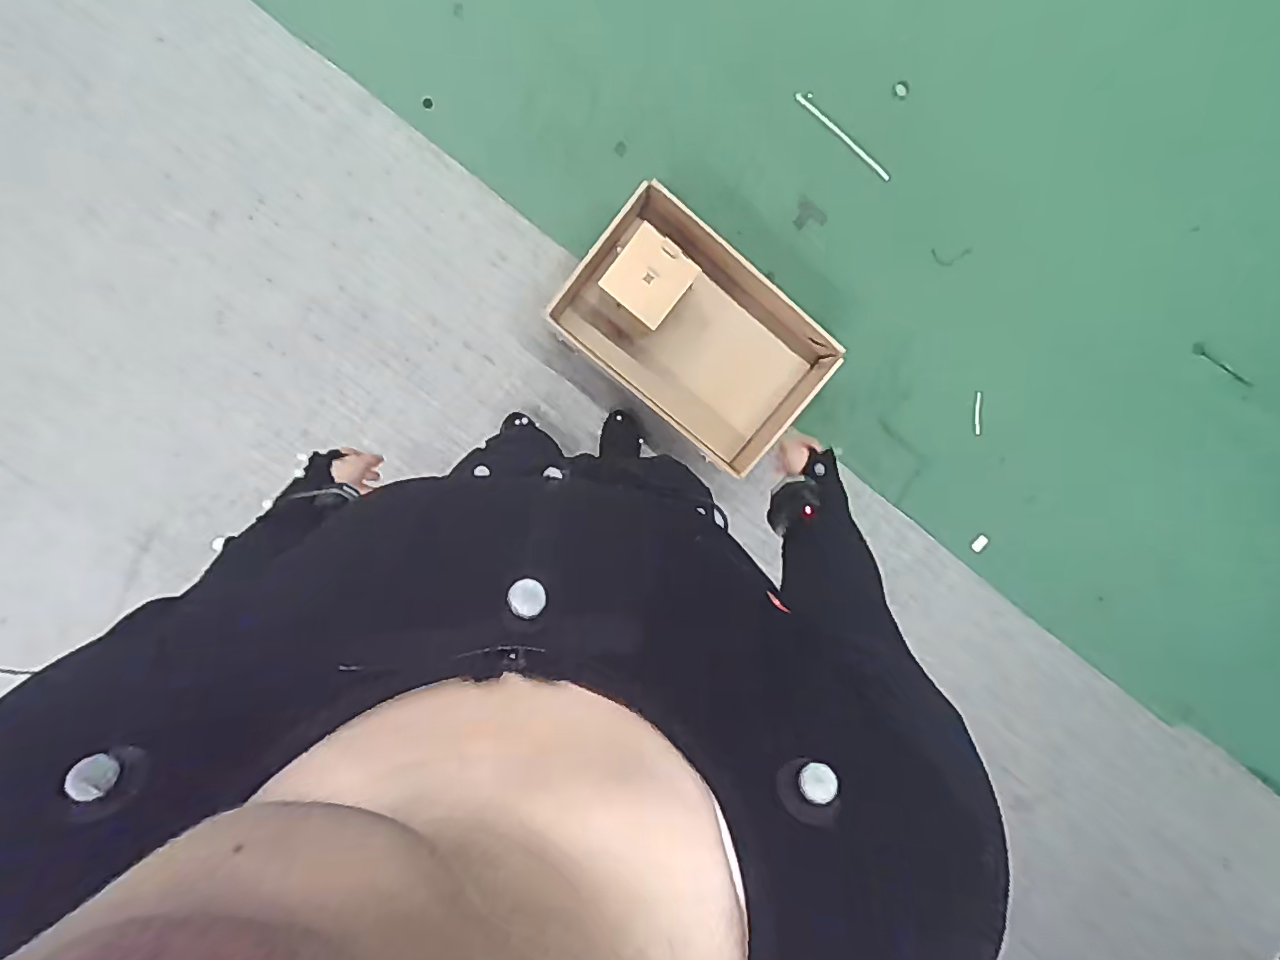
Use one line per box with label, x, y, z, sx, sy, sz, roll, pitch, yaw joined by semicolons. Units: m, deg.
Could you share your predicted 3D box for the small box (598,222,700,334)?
small box;0.019;-0.467;1.284;0.168;0.176;0.179;38;97;-8
